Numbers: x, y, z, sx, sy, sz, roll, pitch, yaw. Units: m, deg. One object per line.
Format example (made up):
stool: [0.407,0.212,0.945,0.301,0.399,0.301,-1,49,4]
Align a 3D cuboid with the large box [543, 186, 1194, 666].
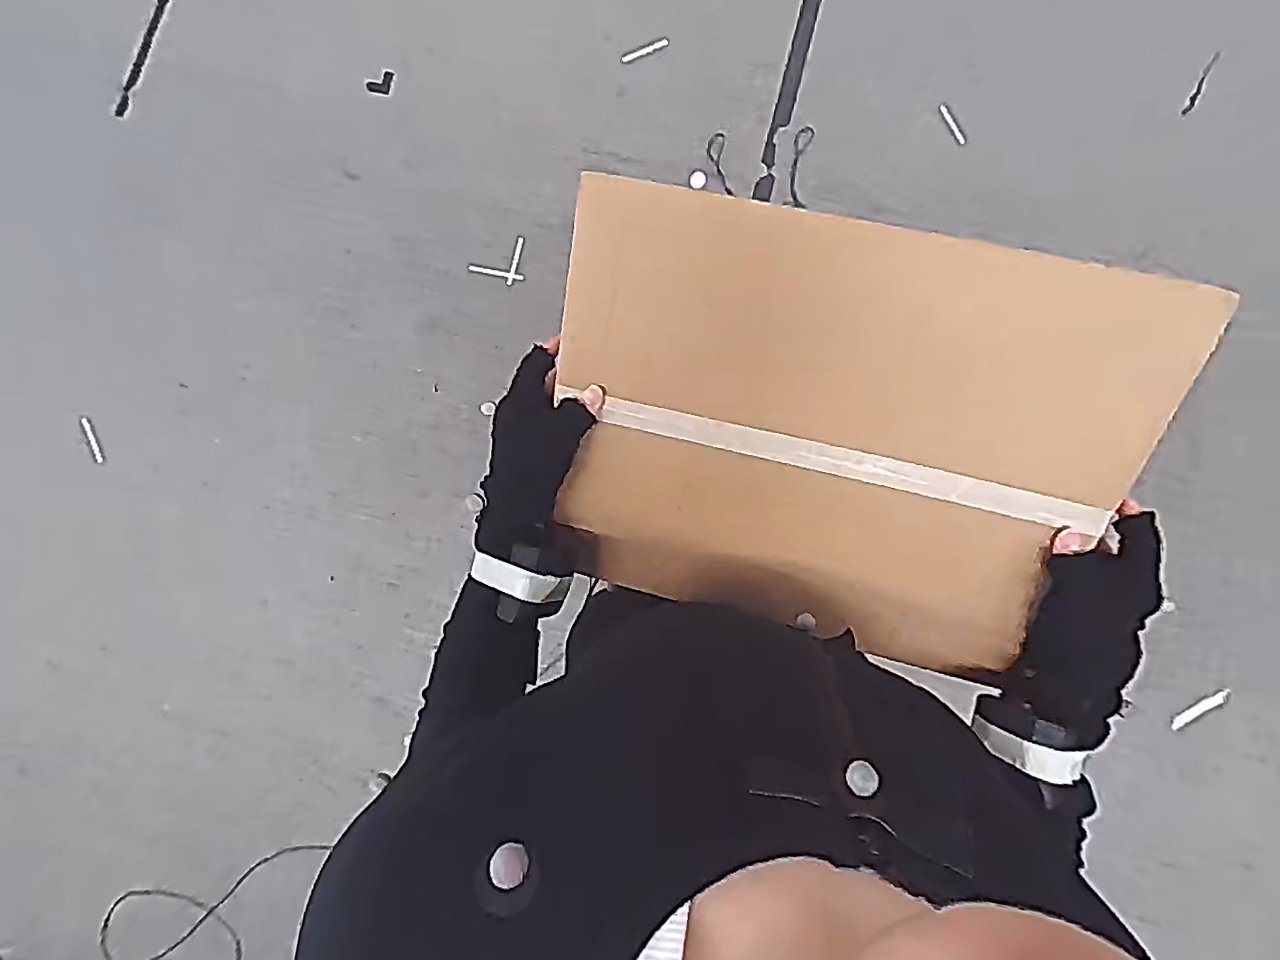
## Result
large box: [0.152,-0.079,0.548,0.408,0.320,0.320,14,115,7]
